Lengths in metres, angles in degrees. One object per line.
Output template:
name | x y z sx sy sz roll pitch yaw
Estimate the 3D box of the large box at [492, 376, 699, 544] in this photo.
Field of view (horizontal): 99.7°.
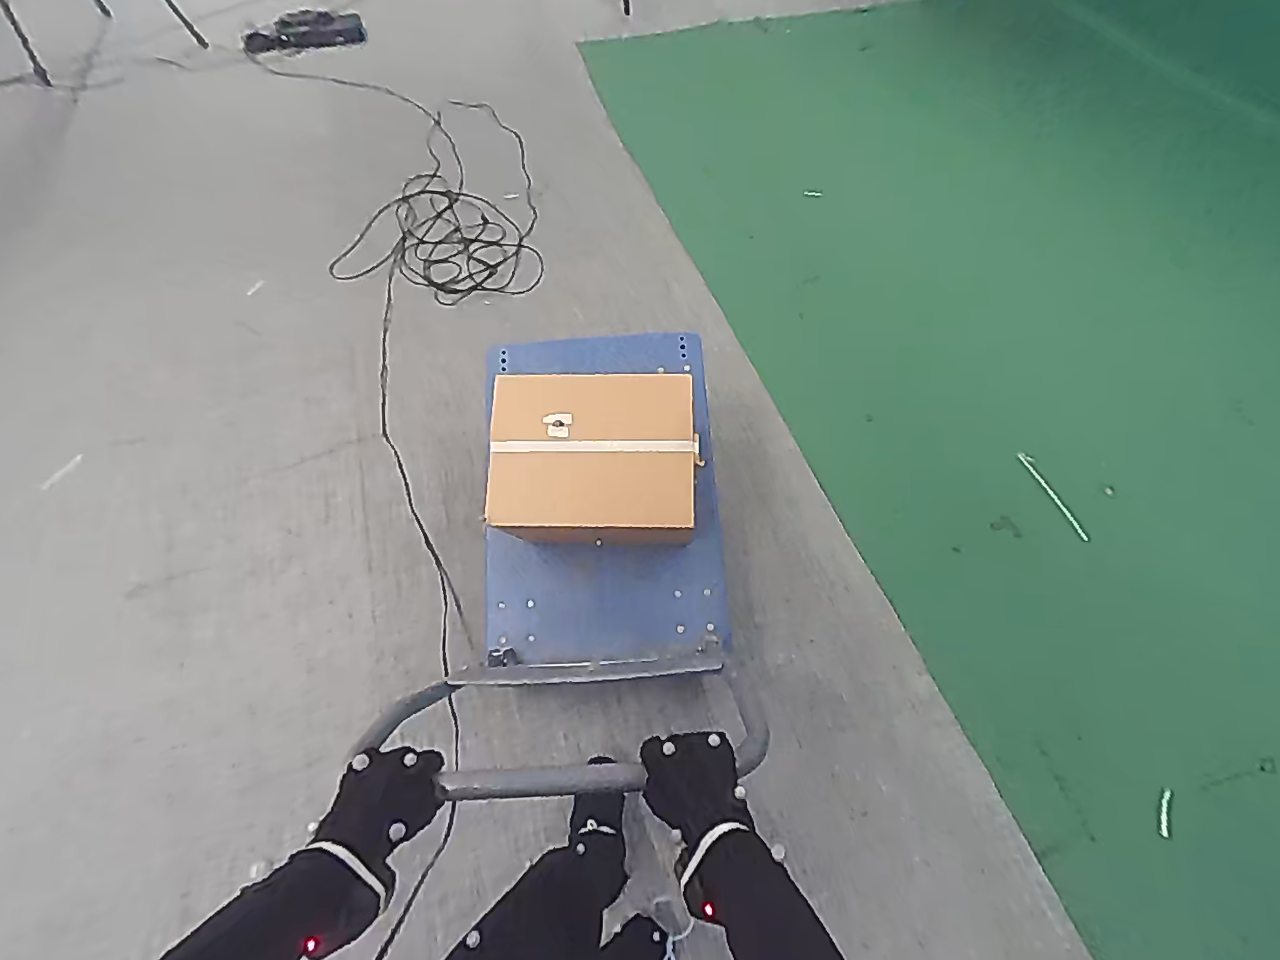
large box | -0.077 -0.024 1.205 0.408 0.320 0.320 0 77 4
